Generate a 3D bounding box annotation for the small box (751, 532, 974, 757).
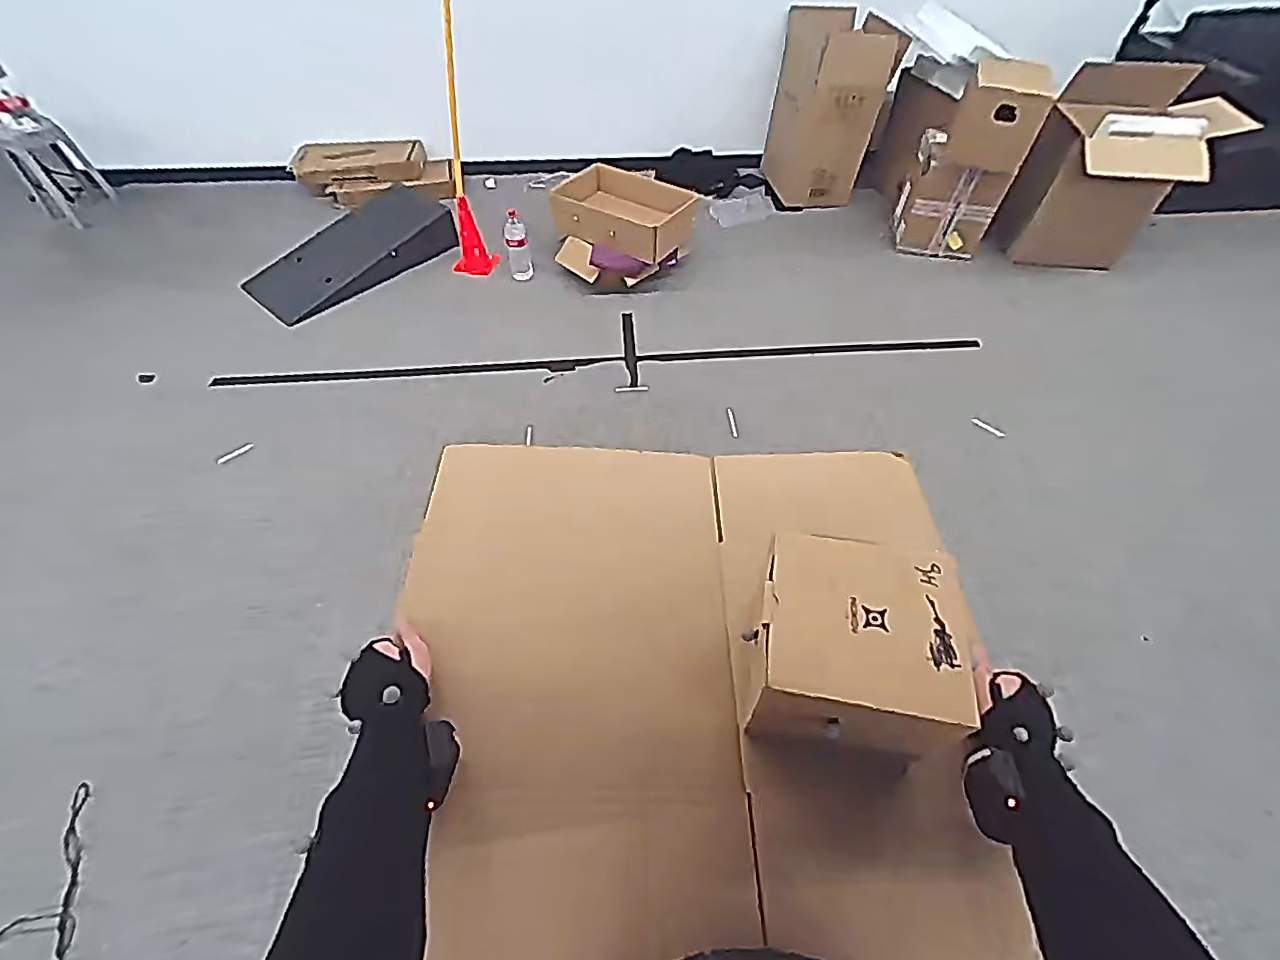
[{"bbox_3d":[0.216,0.177,0.572,0.179,0.176,0.168,7,54,10],"label":"small box"}]
